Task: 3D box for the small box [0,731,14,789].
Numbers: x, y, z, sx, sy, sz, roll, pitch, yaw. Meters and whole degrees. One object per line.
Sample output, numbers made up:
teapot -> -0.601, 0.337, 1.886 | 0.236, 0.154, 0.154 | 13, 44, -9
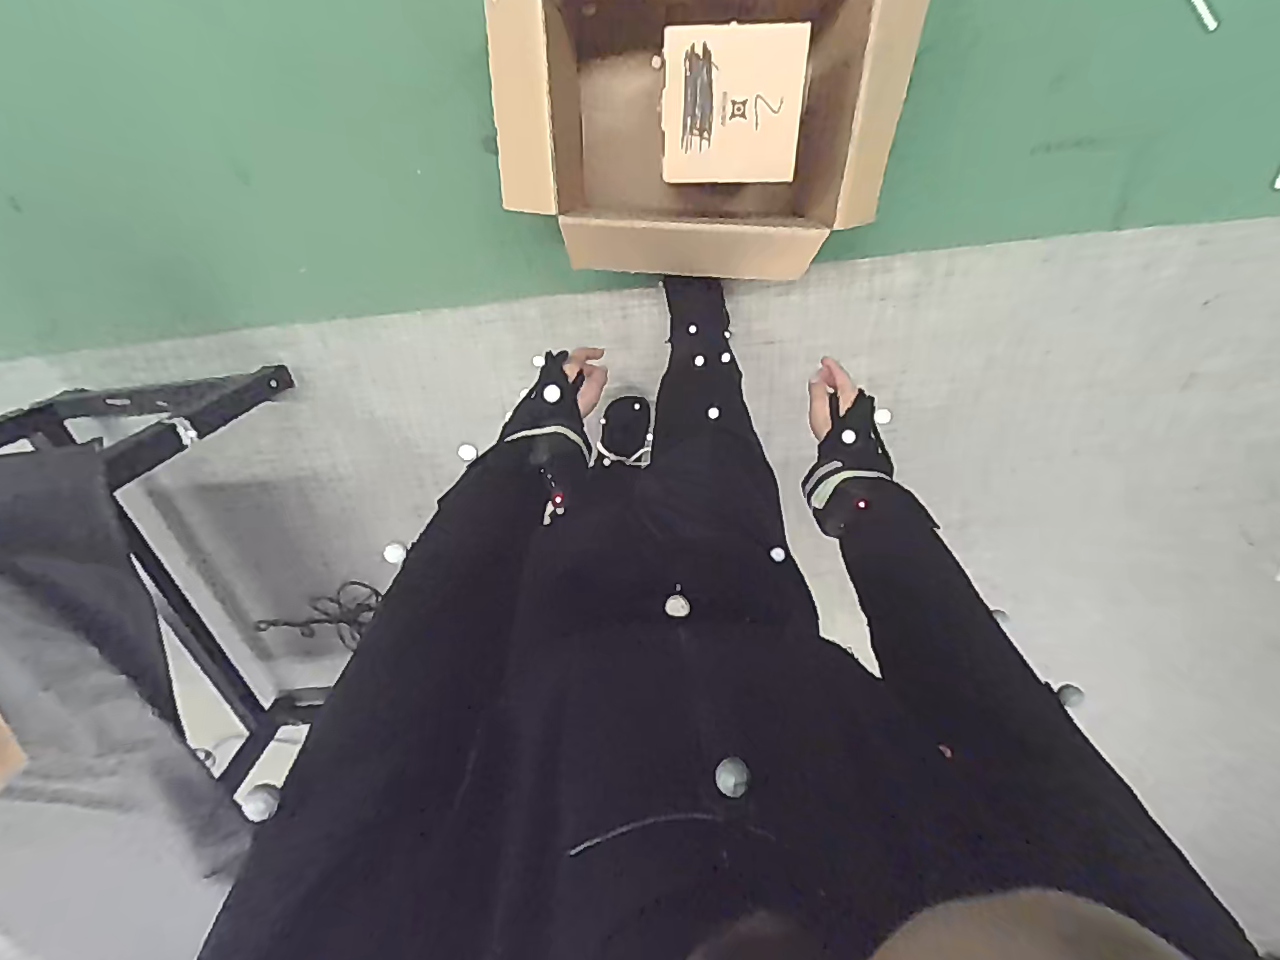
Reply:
small box -> -0.971, 0.382, 0.682 | 0.179, 0.176, 0.168 | 12, 118, -2
